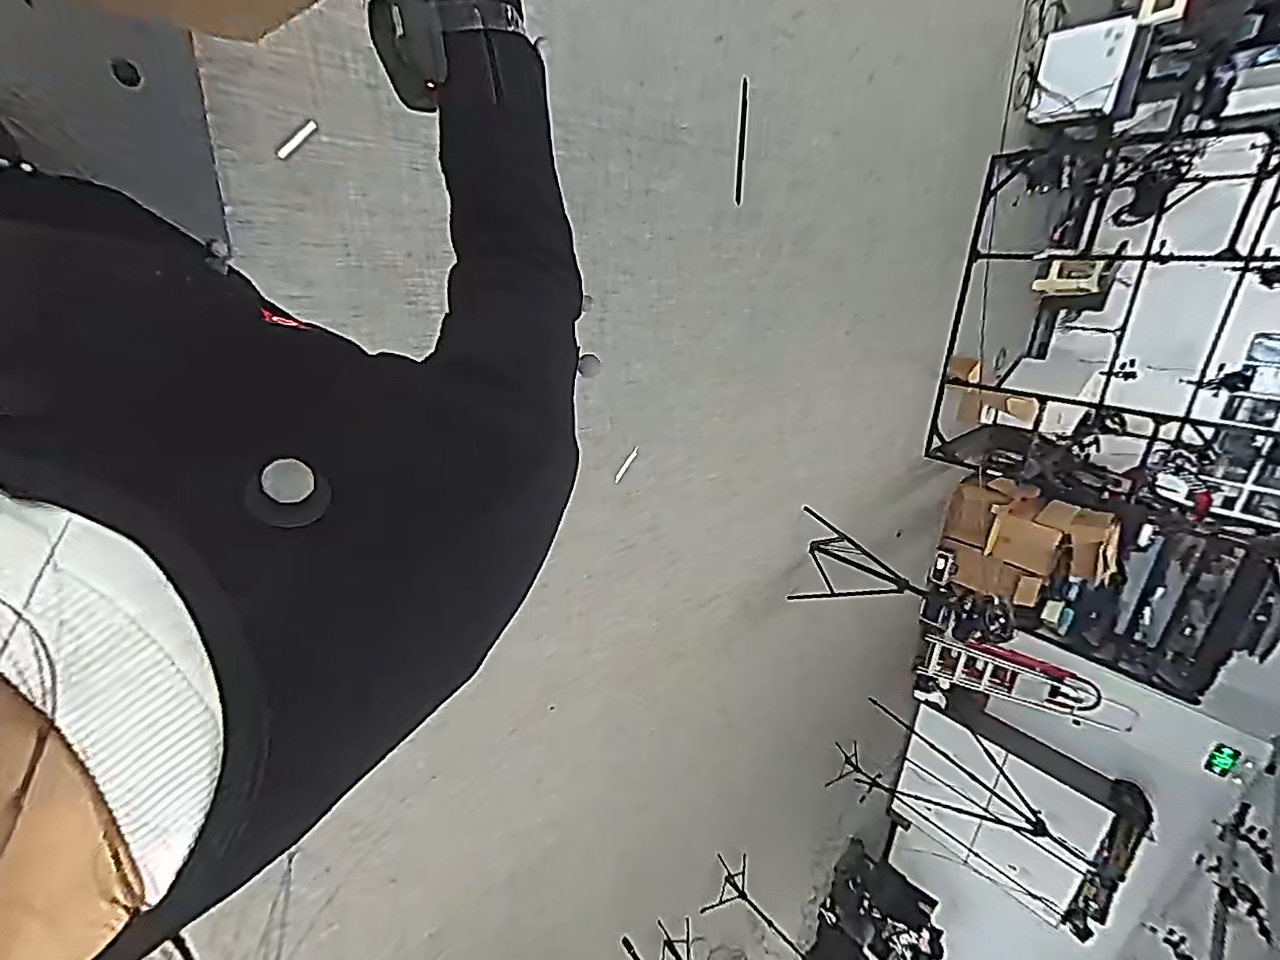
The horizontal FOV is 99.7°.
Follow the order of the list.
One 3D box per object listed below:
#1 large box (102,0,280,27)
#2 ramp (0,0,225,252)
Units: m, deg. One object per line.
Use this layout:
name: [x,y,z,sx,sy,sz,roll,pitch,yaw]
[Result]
large box: [-0.399,-0.432,0.209,0.408,0.320,0.320,-18,127,-38]
ramp: [-0.949,-0.850,0.726,0.509,0.206,0.991,-18,120,-40]
